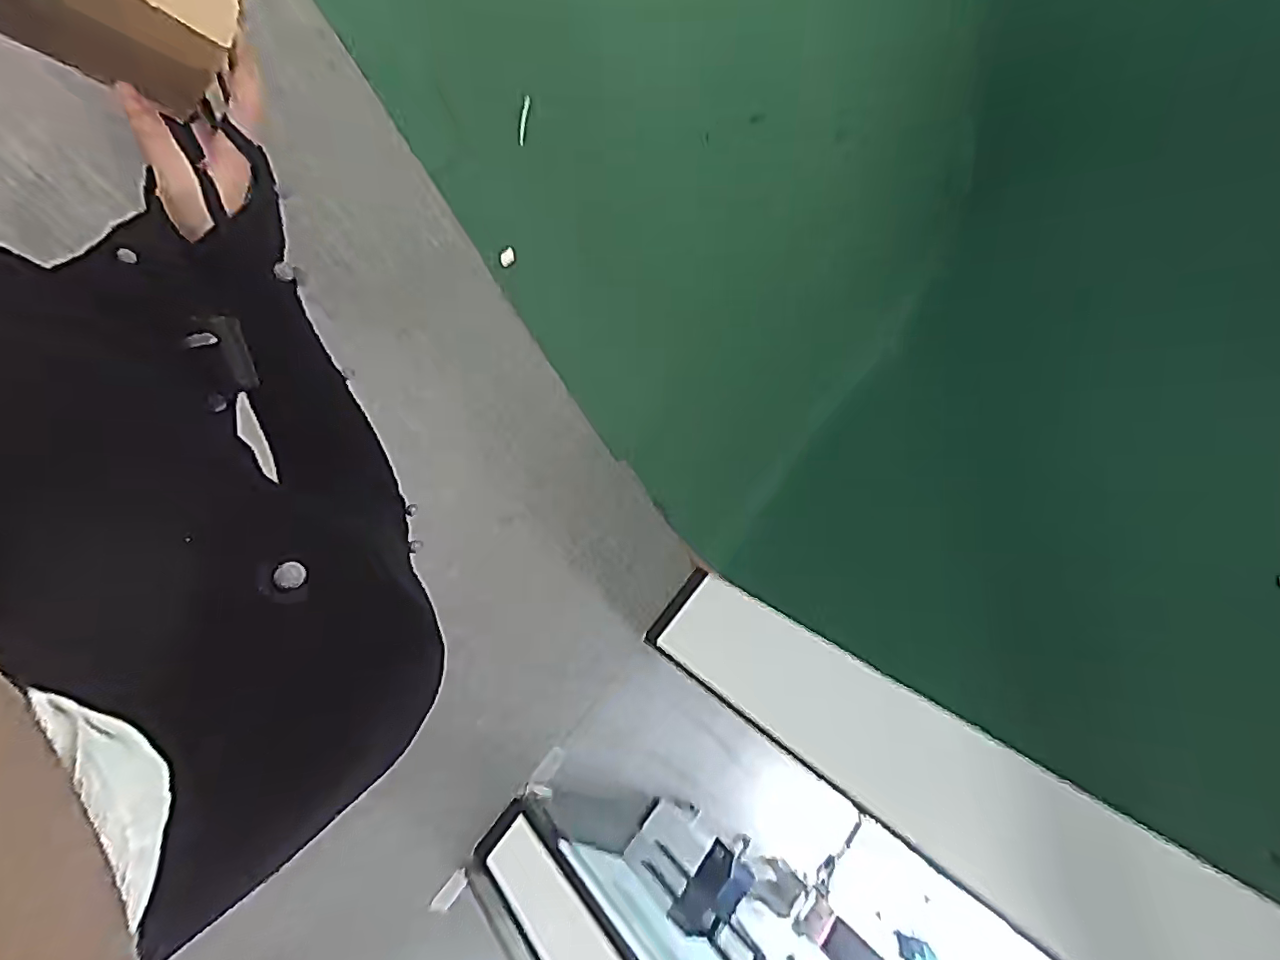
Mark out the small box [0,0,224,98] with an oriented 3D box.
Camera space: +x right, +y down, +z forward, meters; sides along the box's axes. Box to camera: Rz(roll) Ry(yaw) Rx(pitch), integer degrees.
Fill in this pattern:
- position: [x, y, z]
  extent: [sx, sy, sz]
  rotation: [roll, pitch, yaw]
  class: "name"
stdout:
- position: [-0.373, -0.388, 0.338]
  extent: [0.179, 0.176, 0.168]
  rotation: [11, 90, -49]
  class: "small box"
